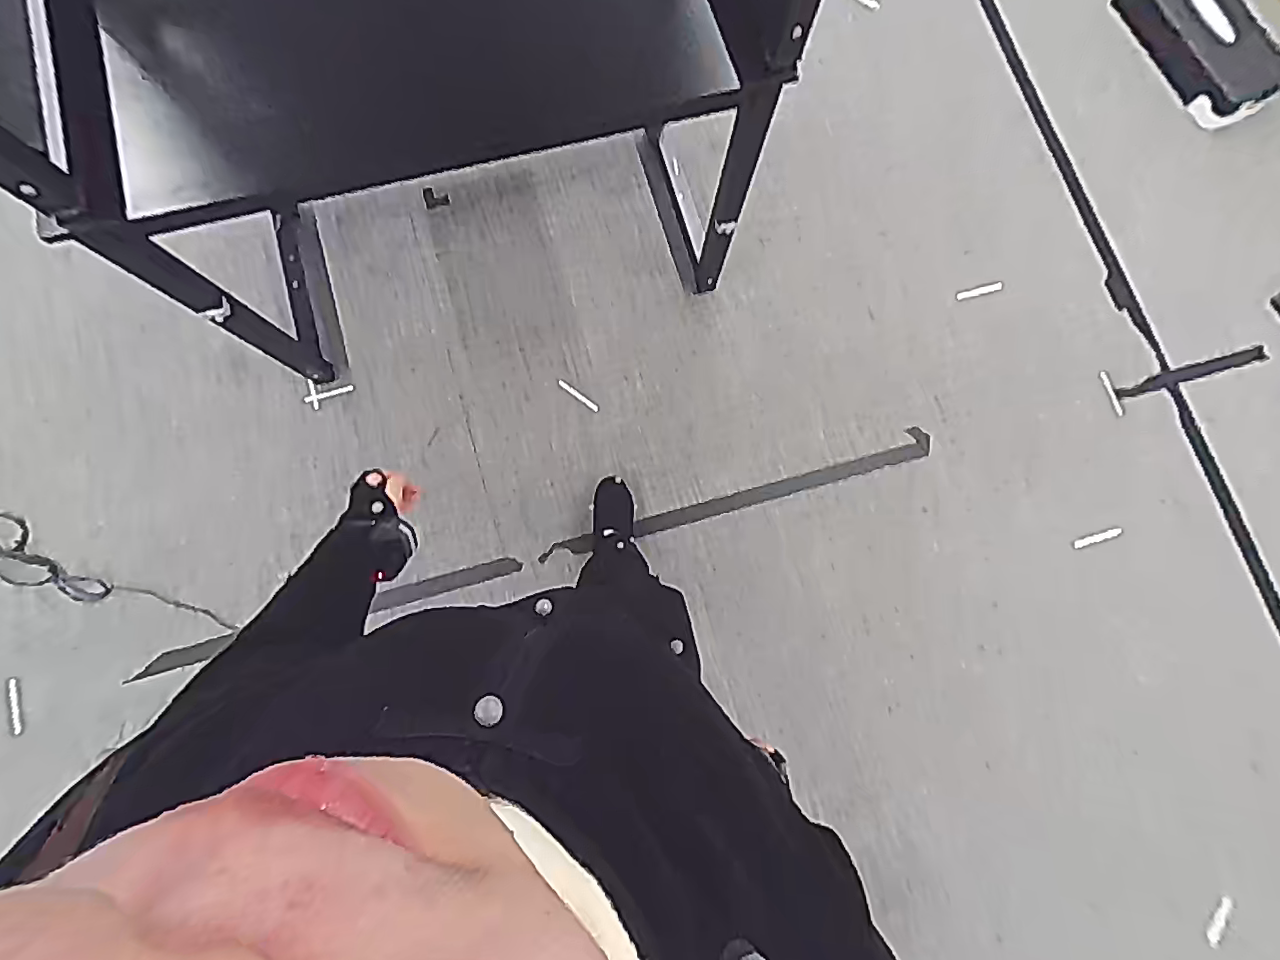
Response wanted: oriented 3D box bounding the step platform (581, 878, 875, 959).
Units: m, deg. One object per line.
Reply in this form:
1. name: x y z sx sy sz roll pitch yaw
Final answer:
1. step platform: 0.204 1.181 1.240 0.684 0.204 0.286 -10 81 -5
